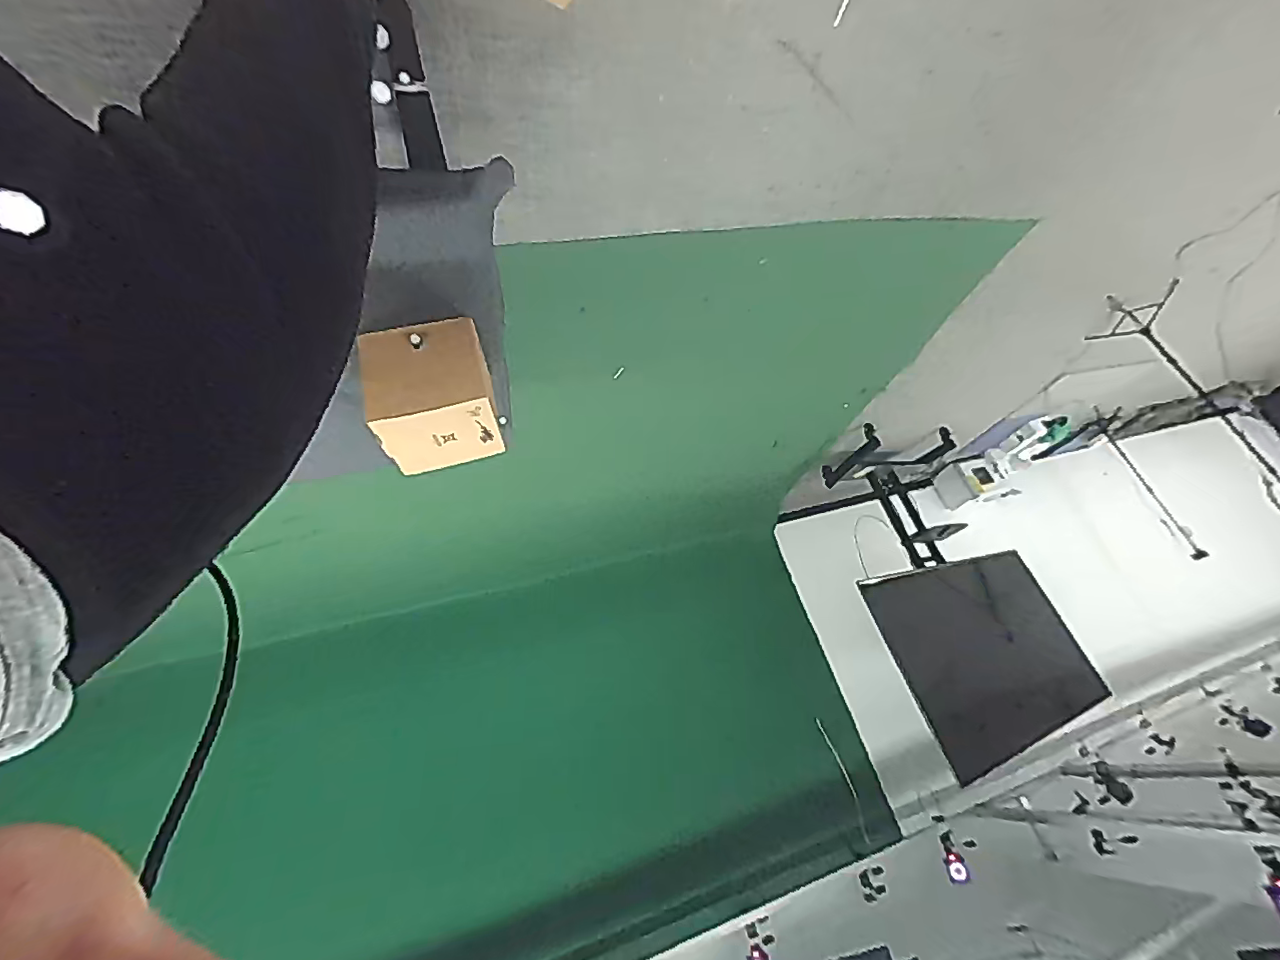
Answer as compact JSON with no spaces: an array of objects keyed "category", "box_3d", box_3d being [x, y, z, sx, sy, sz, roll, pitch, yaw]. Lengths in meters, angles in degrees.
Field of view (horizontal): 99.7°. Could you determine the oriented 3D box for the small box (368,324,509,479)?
[{"category":"small box","box_3d":[-0.325,-0.128,0.882,0.179,0.176,0.168,-14,155,-10]}]
